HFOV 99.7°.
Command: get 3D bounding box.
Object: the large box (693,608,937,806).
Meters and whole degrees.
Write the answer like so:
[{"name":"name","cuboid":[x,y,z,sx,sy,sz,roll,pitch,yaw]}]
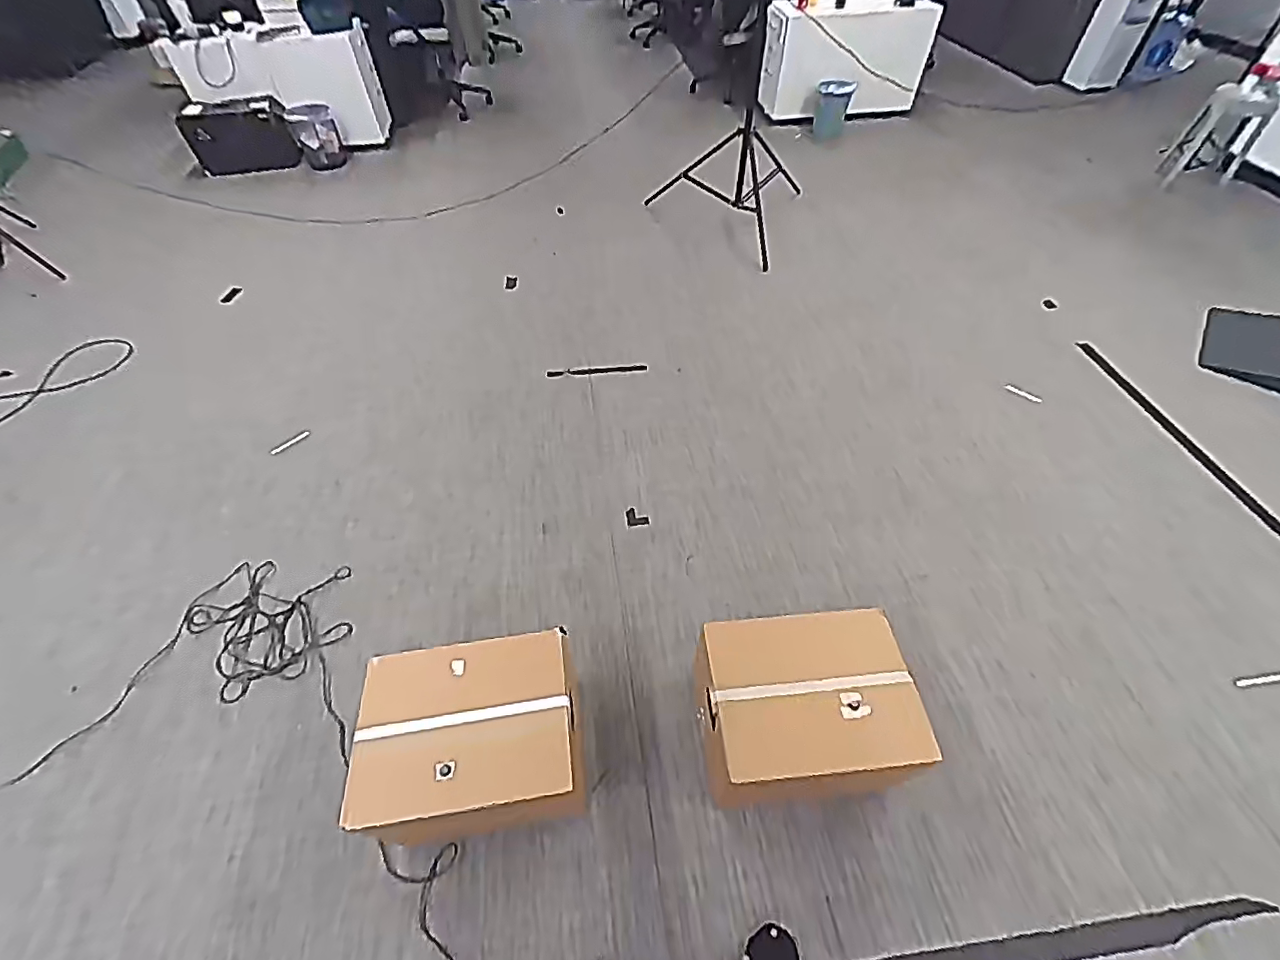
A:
[{"name":"large box","cuboid":[0.350,0.512,1.214,0.408,0.320,0.320,-4,52,-3]}]
